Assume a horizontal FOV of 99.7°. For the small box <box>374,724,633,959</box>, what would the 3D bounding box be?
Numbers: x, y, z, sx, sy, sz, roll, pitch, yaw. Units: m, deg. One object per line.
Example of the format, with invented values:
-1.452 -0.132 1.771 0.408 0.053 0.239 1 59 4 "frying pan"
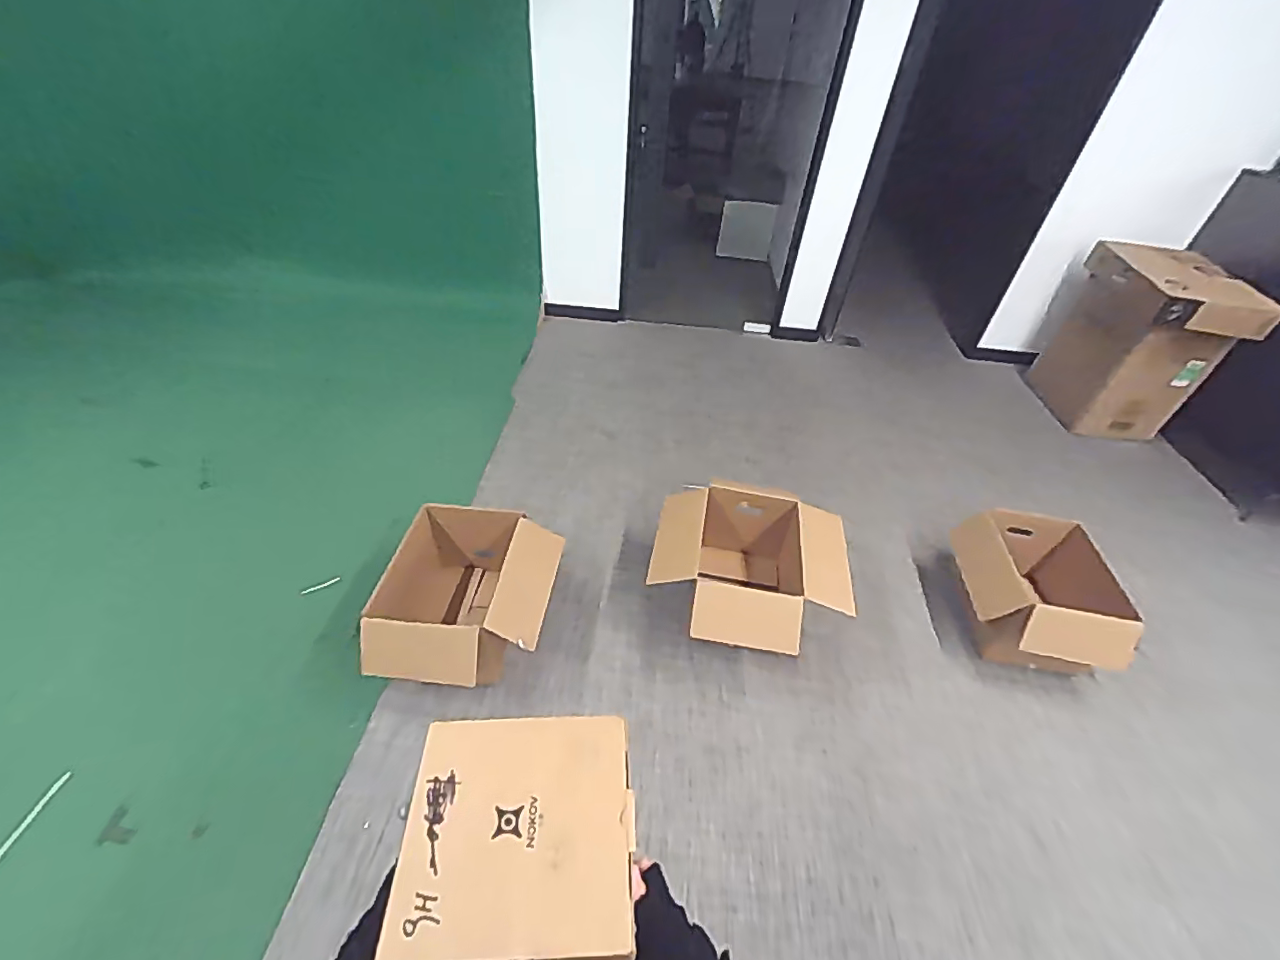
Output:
-0.101 0.336 0.478 0.179 0.176 0.168 2 40 -4 "small box"
